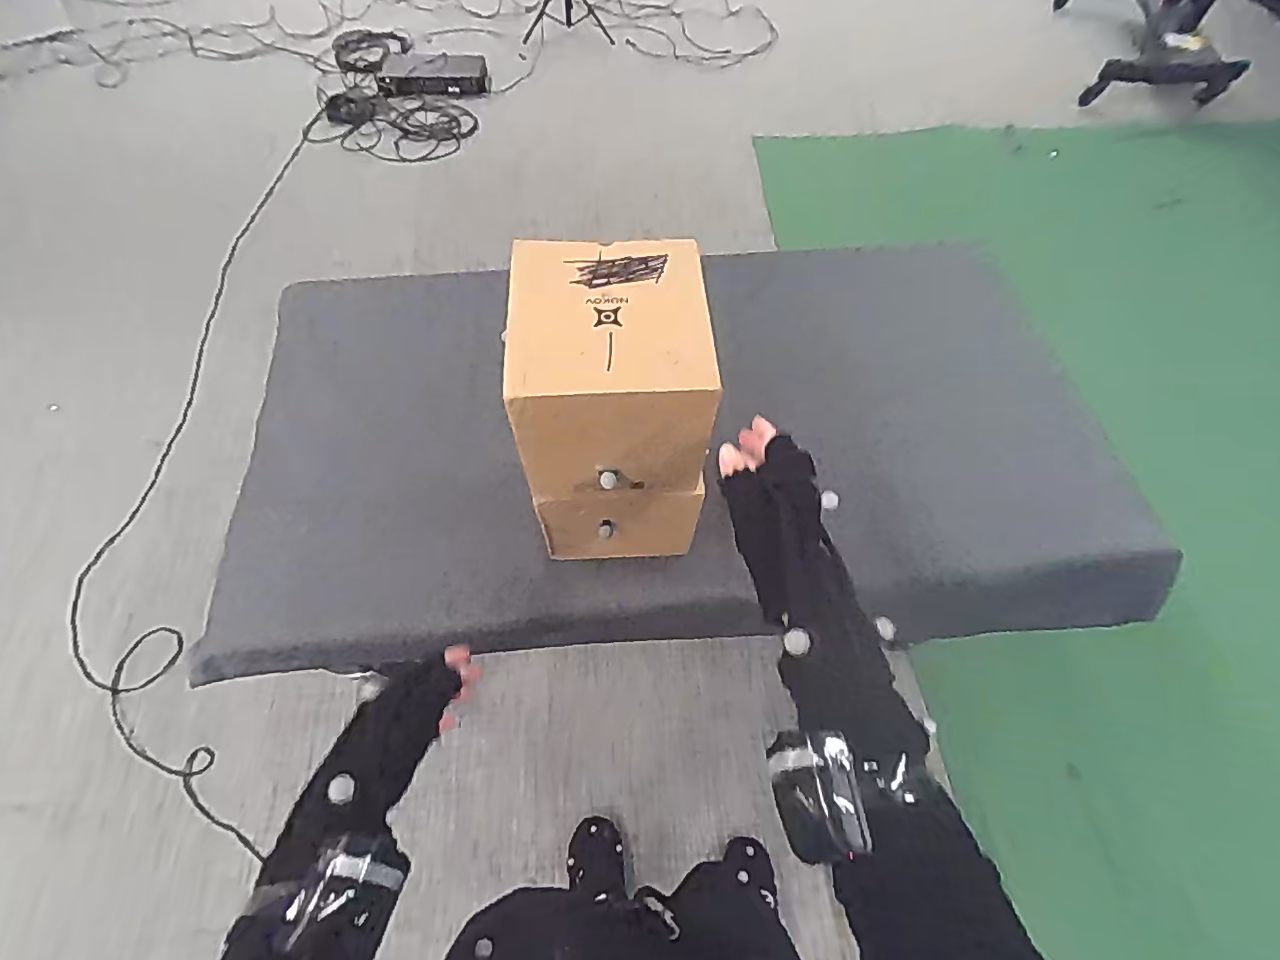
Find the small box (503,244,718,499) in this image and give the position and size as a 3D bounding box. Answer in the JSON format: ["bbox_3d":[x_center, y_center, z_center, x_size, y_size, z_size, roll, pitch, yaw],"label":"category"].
[{"bbox_3d":[-0.028,-0.096,0.516,0.168,0.176,0.179,-1,61,-3],"label":"small box"}]

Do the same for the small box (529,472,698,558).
[{"bbox_3d":[-0.030,-0.010,0.656,0.179,0.176,0.168,-2,61,-2],"label":"small box"}]
